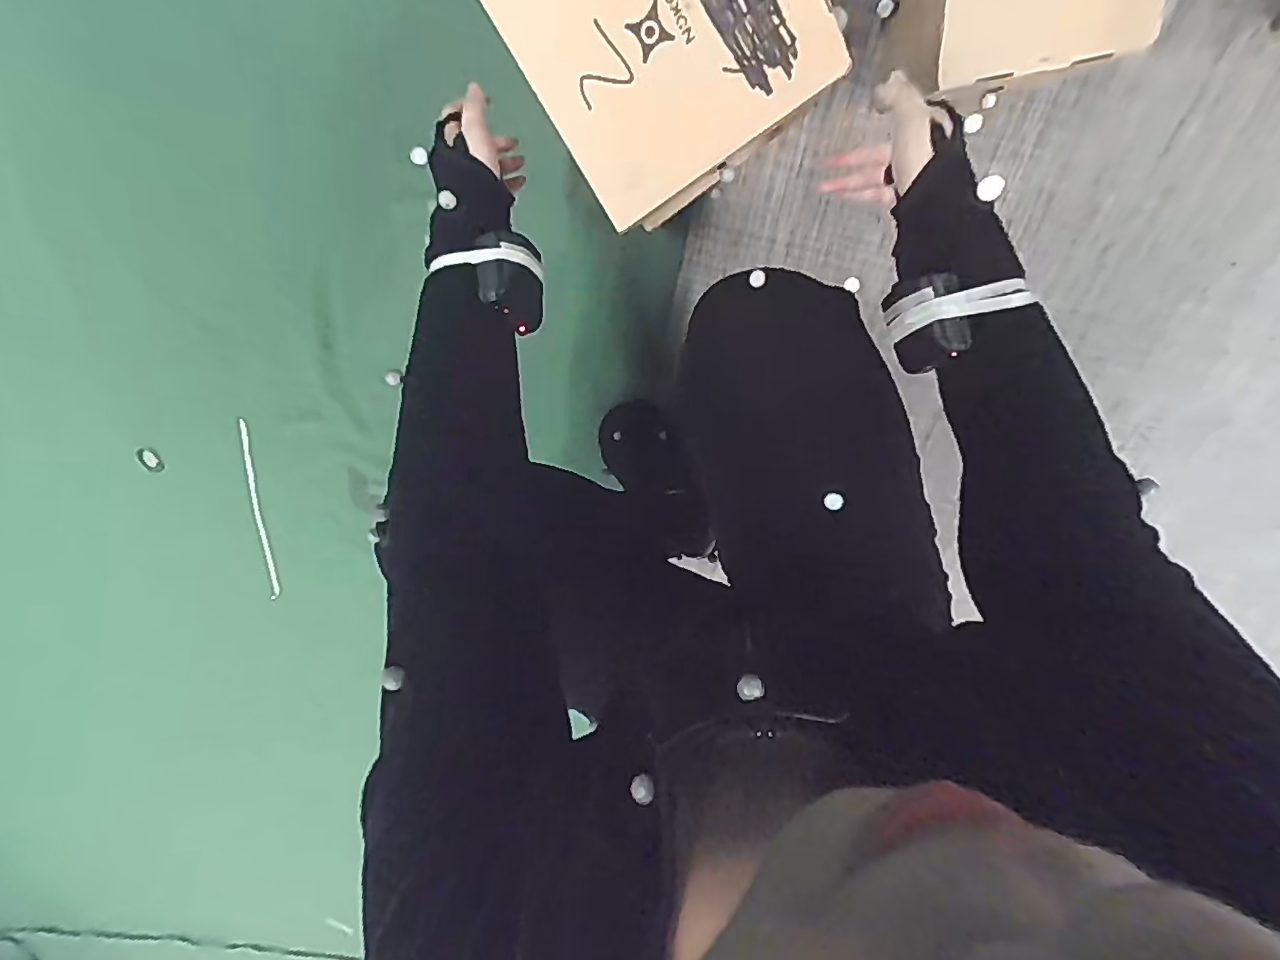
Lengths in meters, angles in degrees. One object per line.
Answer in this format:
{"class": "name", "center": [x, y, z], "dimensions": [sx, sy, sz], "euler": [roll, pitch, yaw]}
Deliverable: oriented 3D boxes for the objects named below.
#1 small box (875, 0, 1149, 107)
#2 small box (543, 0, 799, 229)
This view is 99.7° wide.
{"class": "small box", "center": [0.319, -0.450, 0.480], "dimensions": [0.168, 0.176, 0.179], "euler": [-5, 118, 8]}
{"class": "small box", "center": [0.035, -0.380, 0.547], "dimensions": [0.179, 0.176, 0.168], "euler": [-30, 111, 18]}
